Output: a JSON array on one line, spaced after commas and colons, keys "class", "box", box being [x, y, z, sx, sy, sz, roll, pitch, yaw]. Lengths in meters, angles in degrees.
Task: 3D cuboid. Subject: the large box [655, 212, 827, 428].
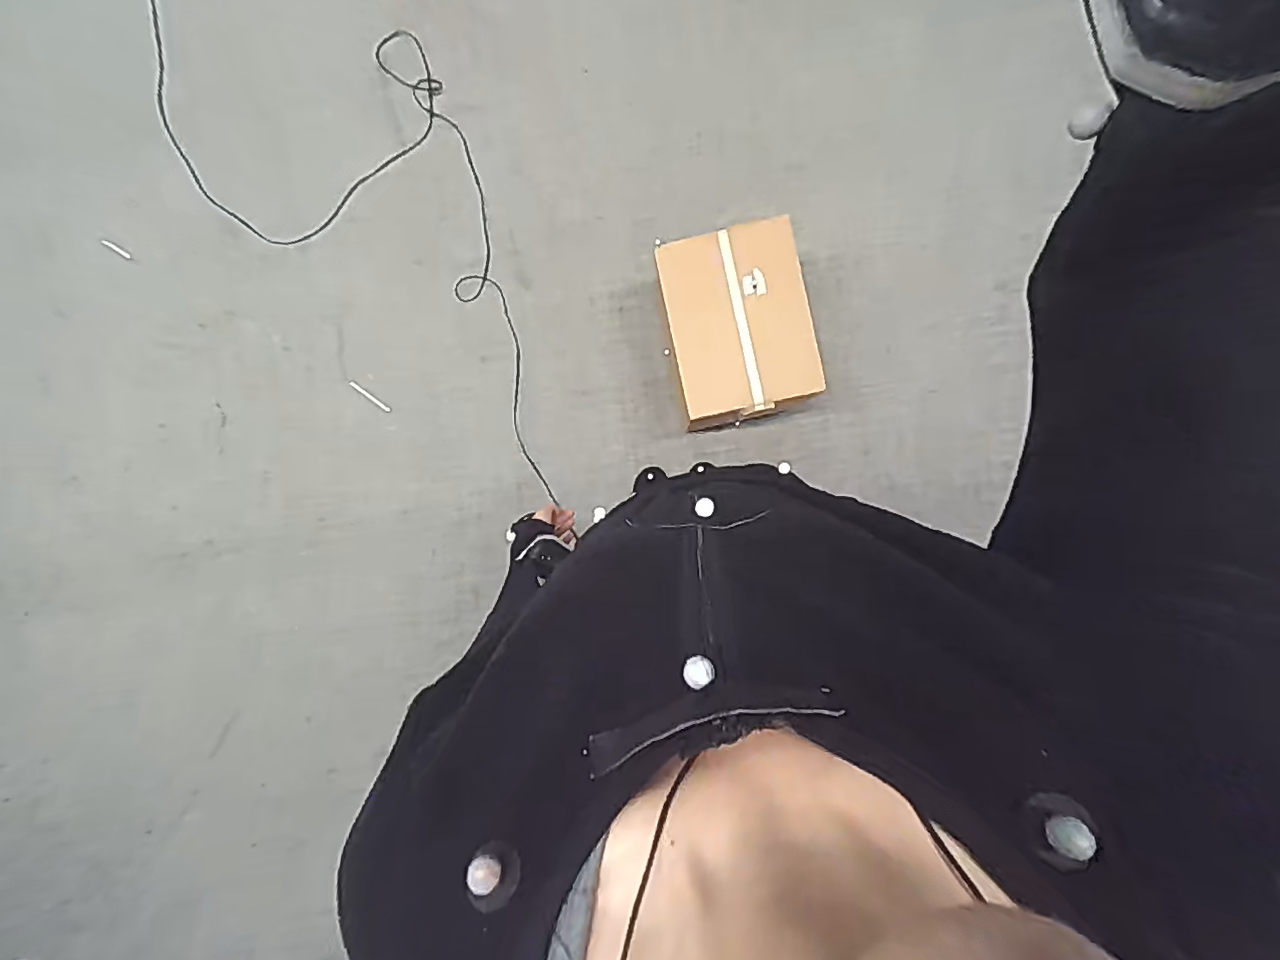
[{"class": "large box", "box": [0.236, -0.371, 1.357, 0.320, 0.320, 0.408, -12, 88, 3]}]
